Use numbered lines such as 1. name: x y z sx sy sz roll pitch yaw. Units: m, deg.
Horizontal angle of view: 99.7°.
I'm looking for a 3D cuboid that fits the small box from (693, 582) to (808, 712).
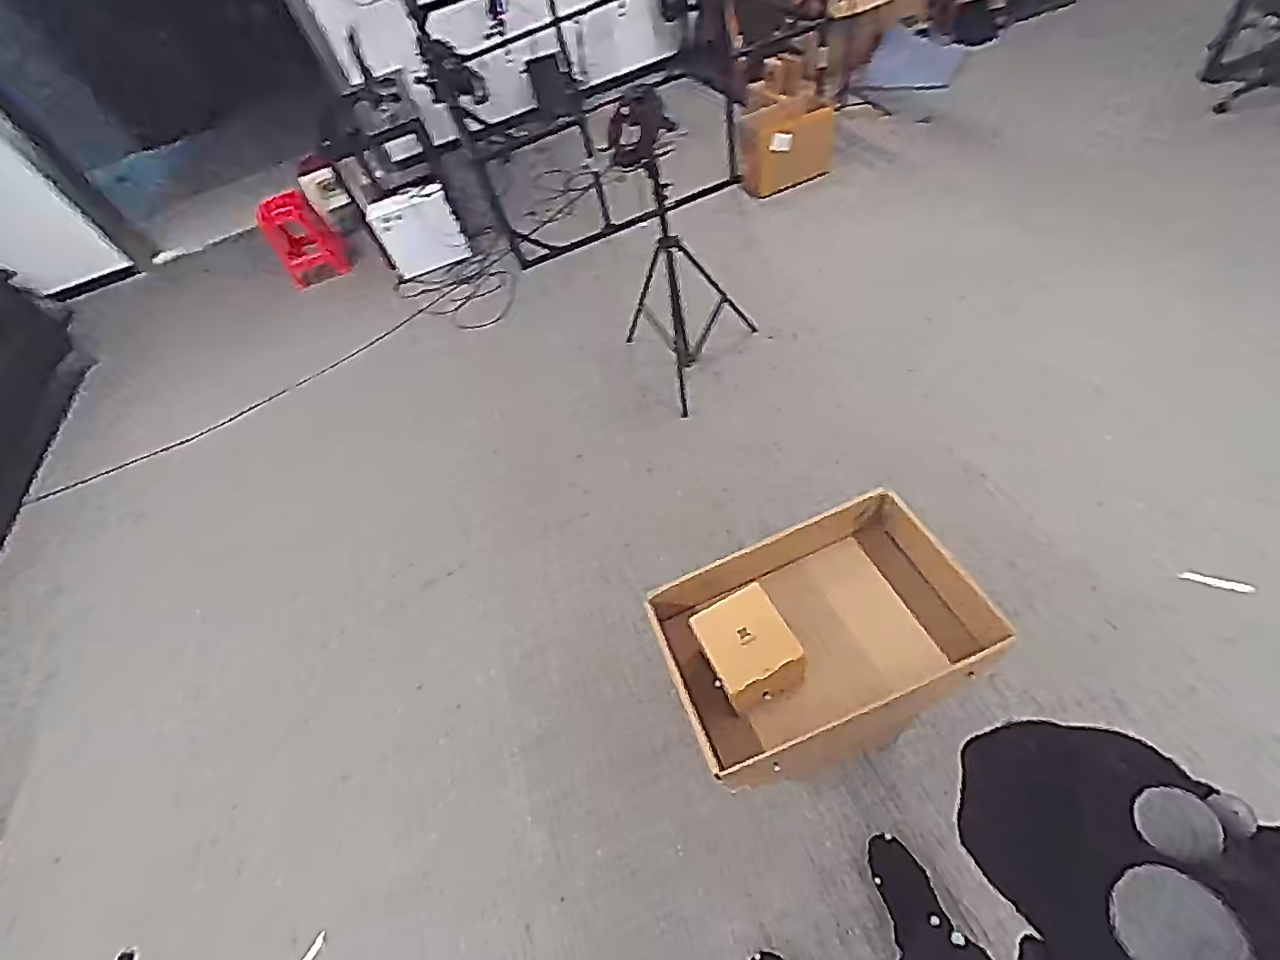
1. small box: 0.229 0.352 1.128 0.168 0.176 0.179 -28 51 -5
